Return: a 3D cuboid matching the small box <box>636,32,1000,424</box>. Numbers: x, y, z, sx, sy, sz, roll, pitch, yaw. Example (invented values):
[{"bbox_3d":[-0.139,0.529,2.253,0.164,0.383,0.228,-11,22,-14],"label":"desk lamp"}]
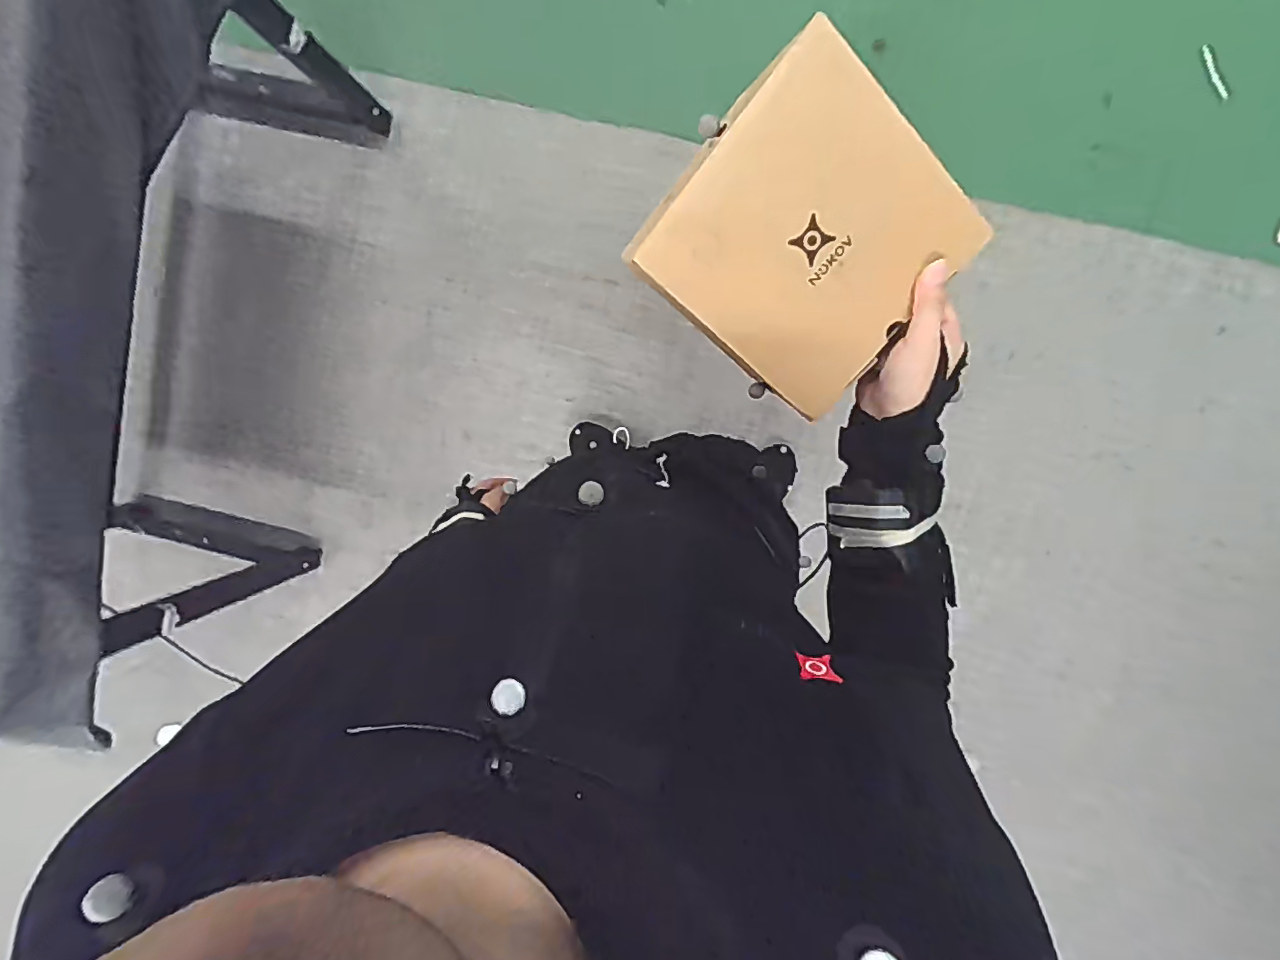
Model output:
[{"bbox_3d":[0.113,-0.175,0.420,0.179,0.176,0.168,36,105,-19],"label":"small box"}]
